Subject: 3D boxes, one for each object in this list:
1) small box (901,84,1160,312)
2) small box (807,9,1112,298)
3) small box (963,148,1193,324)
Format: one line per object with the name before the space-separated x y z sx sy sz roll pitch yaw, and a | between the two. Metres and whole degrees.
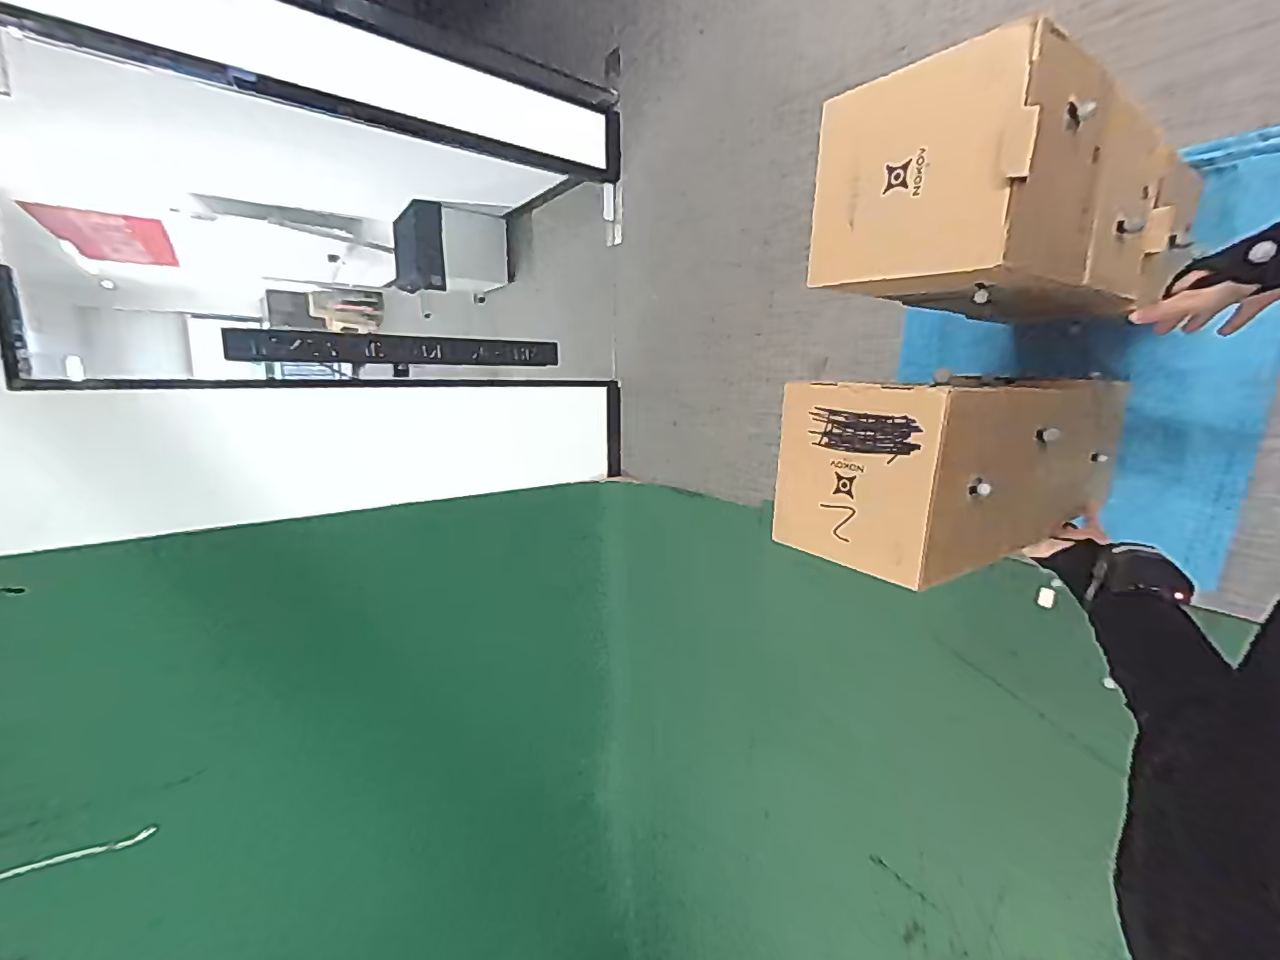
small box | 0.412 -0.275 0.577 0.179 0.176 0.168 15 108 53
small box | 0.279 -0.259 0.484 0.179 0.176 0.168 19 111 53
small box | 0.542 -0.286 0.674 0.179 0.176 0.168 18 111 50
